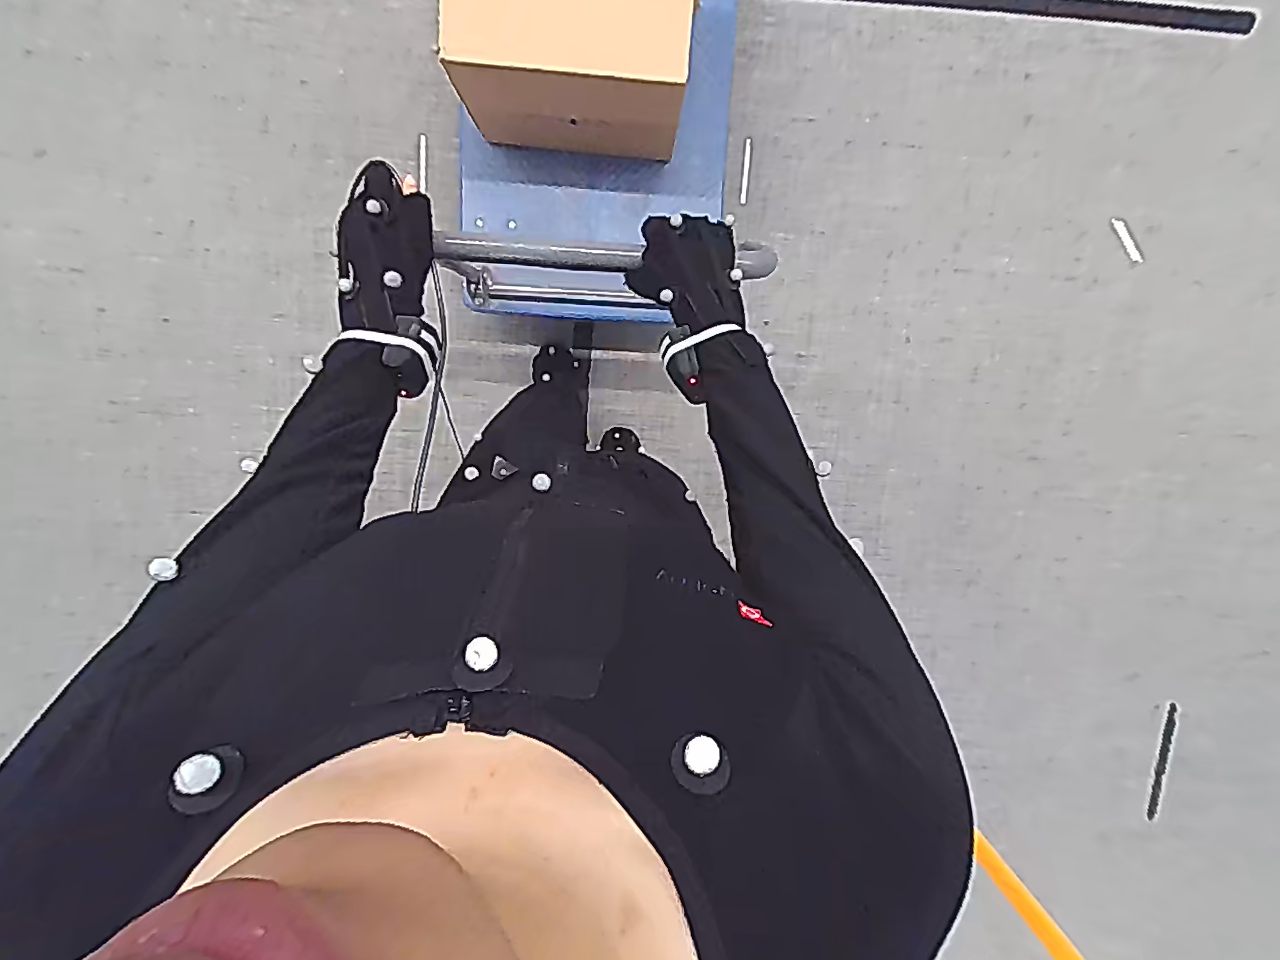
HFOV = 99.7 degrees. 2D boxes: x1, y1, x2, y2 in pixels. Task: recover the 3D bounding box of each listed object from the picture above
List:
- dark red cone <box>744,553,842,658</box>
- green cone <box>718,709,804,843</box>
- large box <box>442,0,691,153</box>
[{"bbox_3d":[0.400,0.331,1.339,0.201,0.394,0.202,3,100,-4],"label":"dark red cone"},{"bbox_3d":[0.348,0.804,1.434,0.202,0.368,0.200,7,99,-4],"label":"green cone"},{"bbox_3d":[-0.116,-0.840,1.001,0.408,0.320,0.320,4,100,-2],"label":"large box"}]
